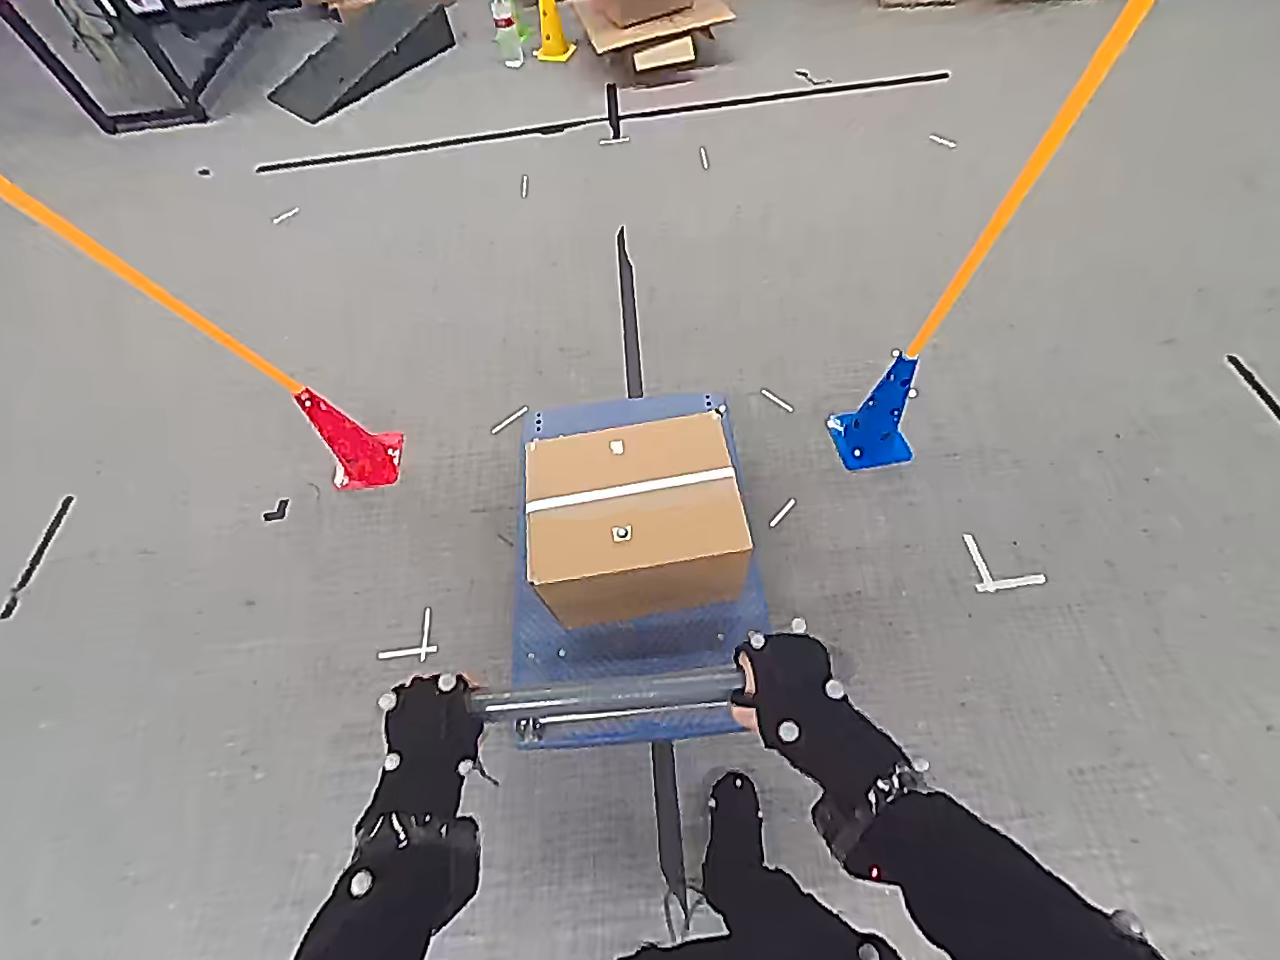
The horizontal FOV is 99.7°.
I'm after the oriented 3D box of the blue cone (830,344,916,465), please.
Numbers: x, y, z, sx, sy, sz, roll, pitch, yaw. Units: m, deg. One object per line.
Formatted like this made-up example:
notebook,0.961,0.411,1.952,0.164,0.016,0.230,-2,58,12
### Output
blue cone,0.670,-0.216,1.470,0.193,0.380,0.192,-9,59,-1
